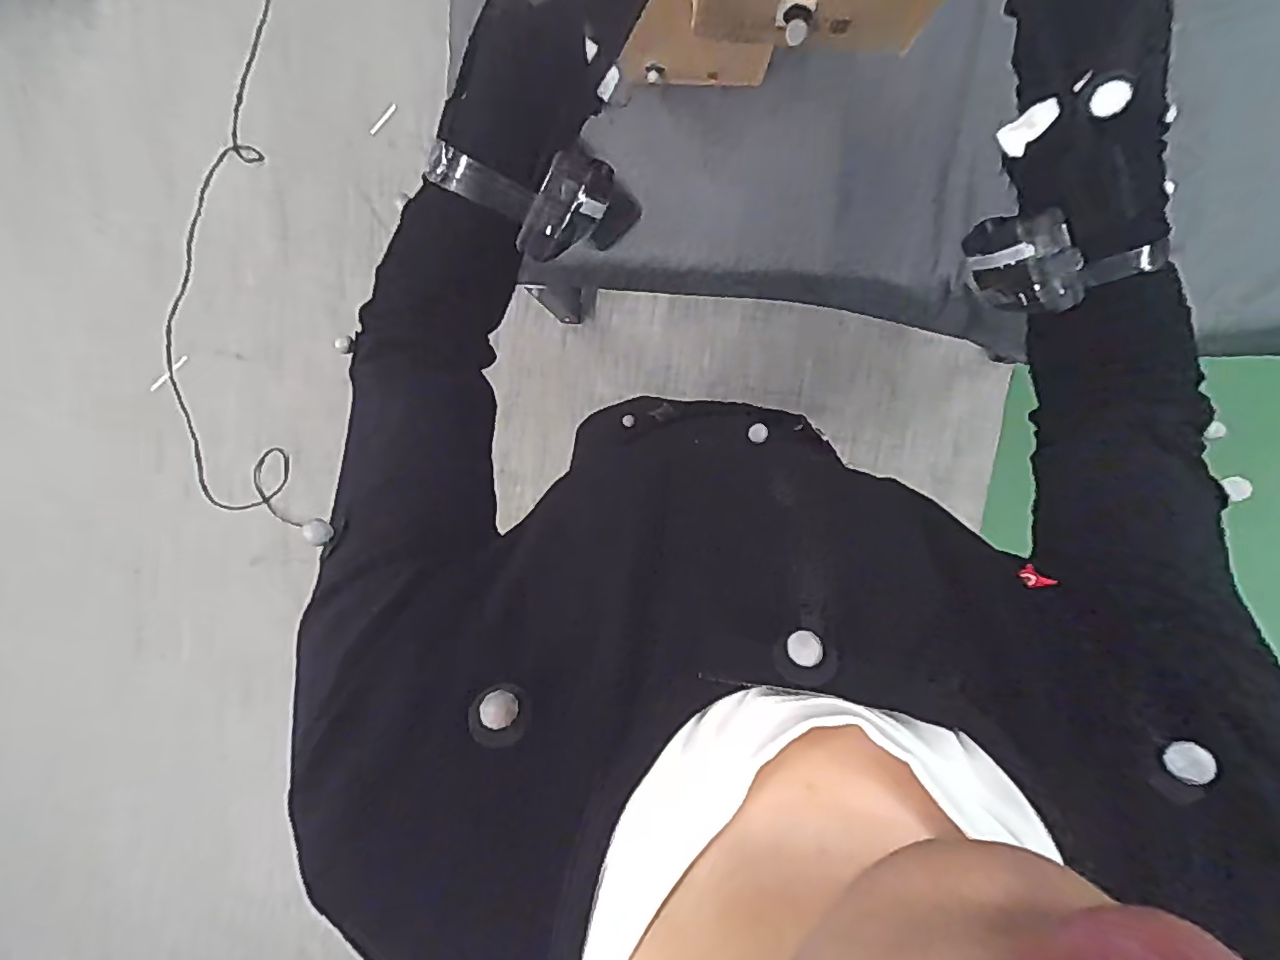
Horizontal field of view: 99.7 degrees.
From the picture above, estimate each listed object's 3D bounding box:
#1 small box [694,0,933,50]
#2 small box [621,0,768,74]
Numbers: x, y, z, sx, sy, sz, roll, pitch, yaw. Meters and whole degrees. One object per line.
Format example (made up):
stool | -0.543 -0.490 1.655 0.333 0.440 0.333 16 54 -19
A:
small box | 0.124 -0.404 0.315 0.168 0.176 0.179 3 99 -1
small box | 0.067 -0.572 0.574 0.168 0.176 0.179 3 97 1
